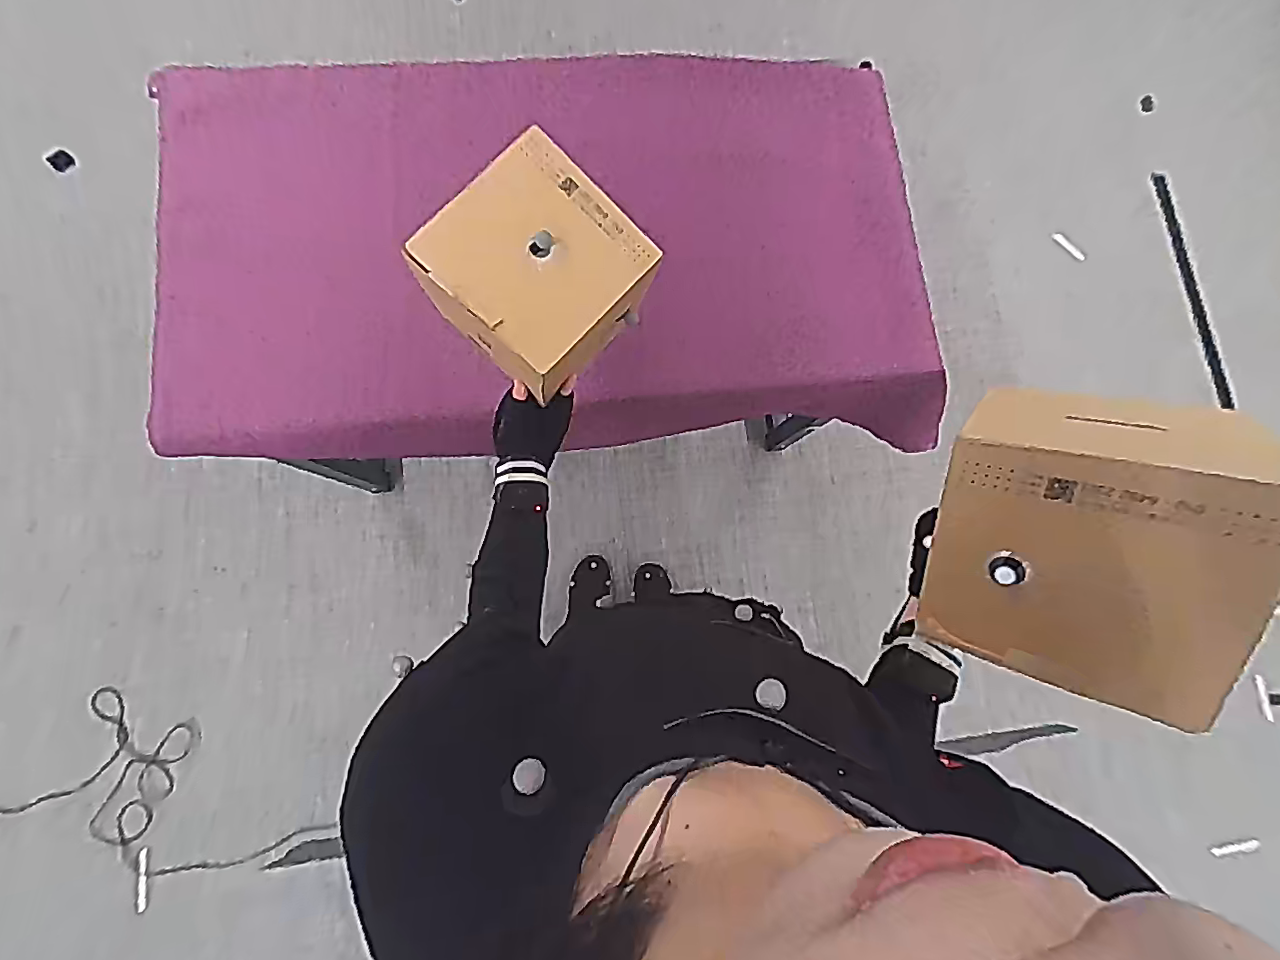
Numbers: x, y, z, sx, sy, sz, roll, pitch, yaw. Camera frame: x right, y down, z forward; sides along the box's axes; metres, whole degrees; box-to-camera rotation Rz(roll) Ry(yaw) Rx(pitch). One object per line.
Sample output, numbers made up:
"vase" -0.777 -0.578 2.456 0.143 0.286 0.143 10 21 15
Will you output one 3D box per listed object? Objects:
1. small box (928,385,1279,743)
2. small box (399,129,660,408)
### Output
"small box" 0.326 0.034 0.387 0.168 0.179 0.176 17 119 34
"small box" -0.101 -0.199 0.547 0.168 0.179 0.176 44 84 -6
